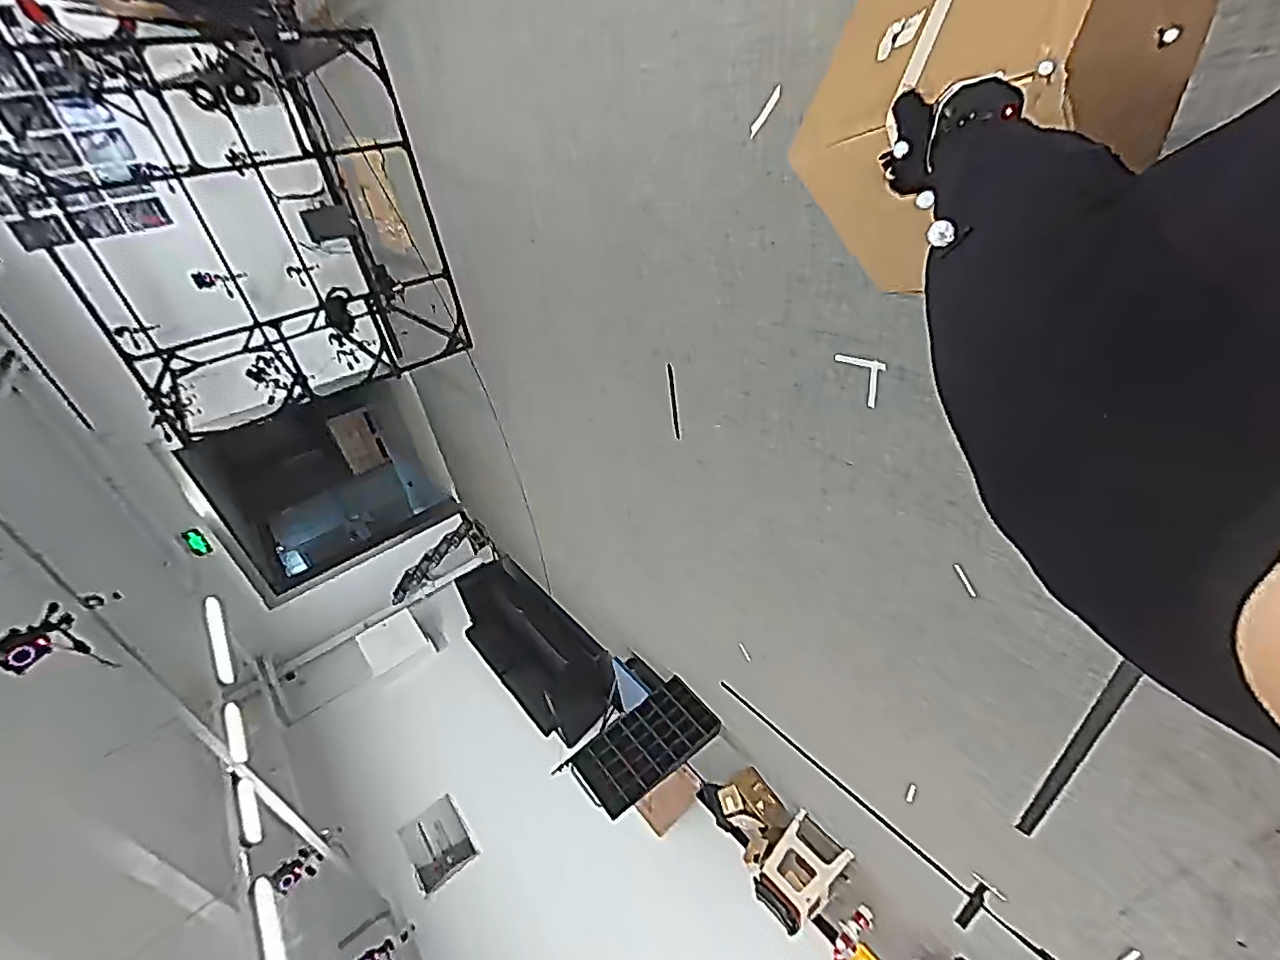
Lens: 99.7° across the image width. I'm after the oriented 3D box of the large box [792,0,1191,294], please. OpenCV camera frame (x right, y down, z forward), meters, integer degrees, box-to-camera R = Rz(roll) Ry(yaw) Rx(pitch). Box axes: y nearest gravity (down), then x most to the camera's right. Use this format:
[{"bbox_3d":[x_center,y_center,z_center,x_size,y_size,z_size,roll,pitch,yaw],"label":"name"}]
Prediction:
[{"bbox_3d":[0.476,-0.521,0.732,0.320,0.408,0.320,27,174,-38],"label":"large box"}]
